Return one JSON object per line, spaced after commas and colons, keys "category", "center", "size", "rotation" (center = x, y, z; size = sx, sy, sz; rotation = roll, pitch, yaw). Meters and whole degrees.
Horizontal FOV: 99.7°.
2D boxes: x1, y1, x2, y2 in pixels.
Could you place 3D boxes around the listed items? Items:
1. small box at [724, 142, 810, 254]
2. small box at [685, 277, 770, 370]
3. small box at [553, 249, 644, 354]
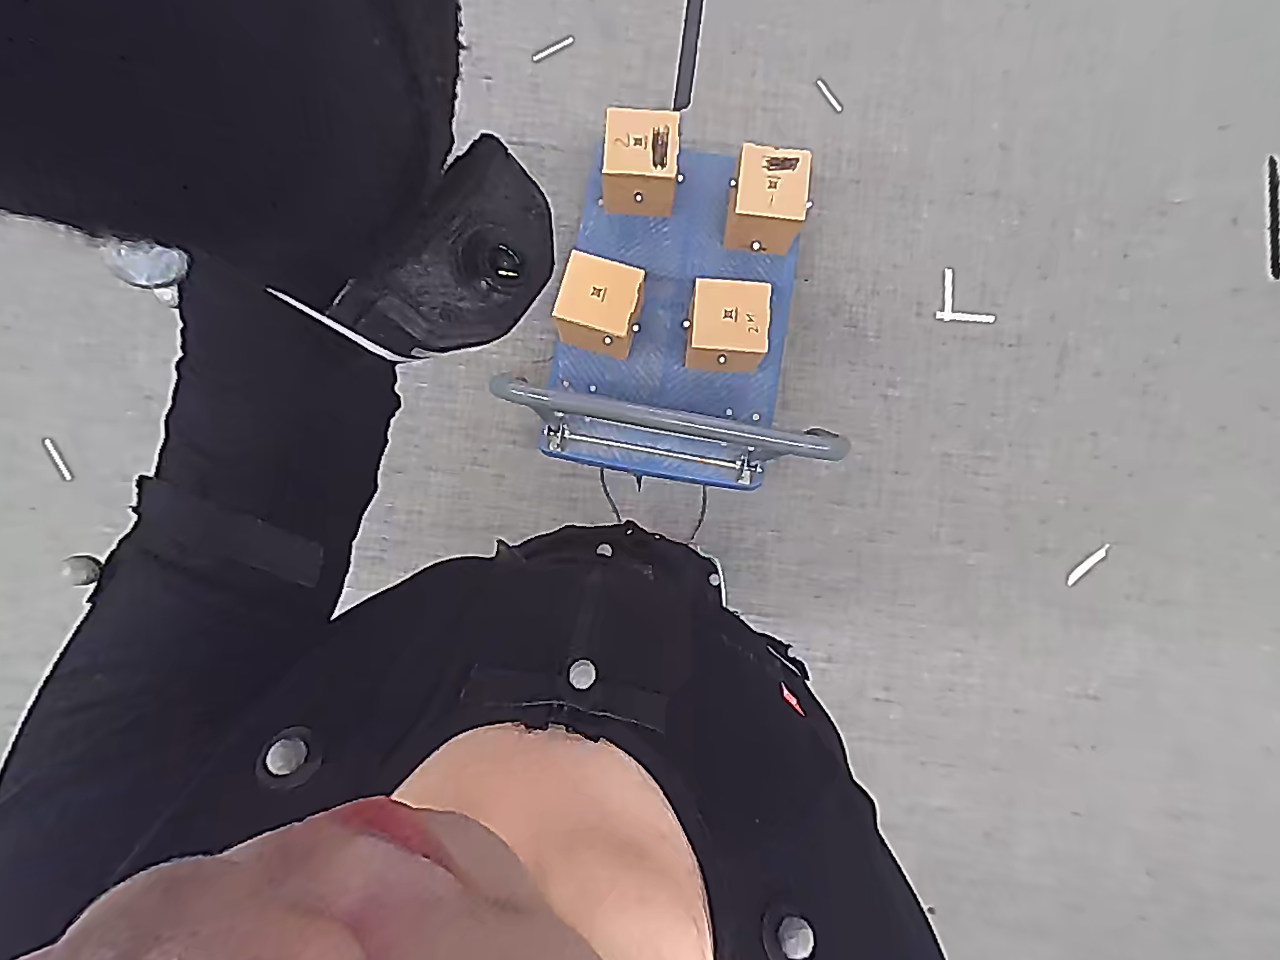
{"category": "small box", "center": [0.309, -0.693, 1.344], "size": [0.168, 0.176, 0.179], "rotation": [7, 86, 0]}
{"category": "small box", "center": [0.205, -0.373, 1.313], "size": [0.179, 0.176, 0.168], "rotation": [5, 85, 0]}
{"category": "small box", "center": [-0.097, -0.424, 1.314], "size": [0.179, 0.176, 0.168], "rotation": [16, 84, -1]}
